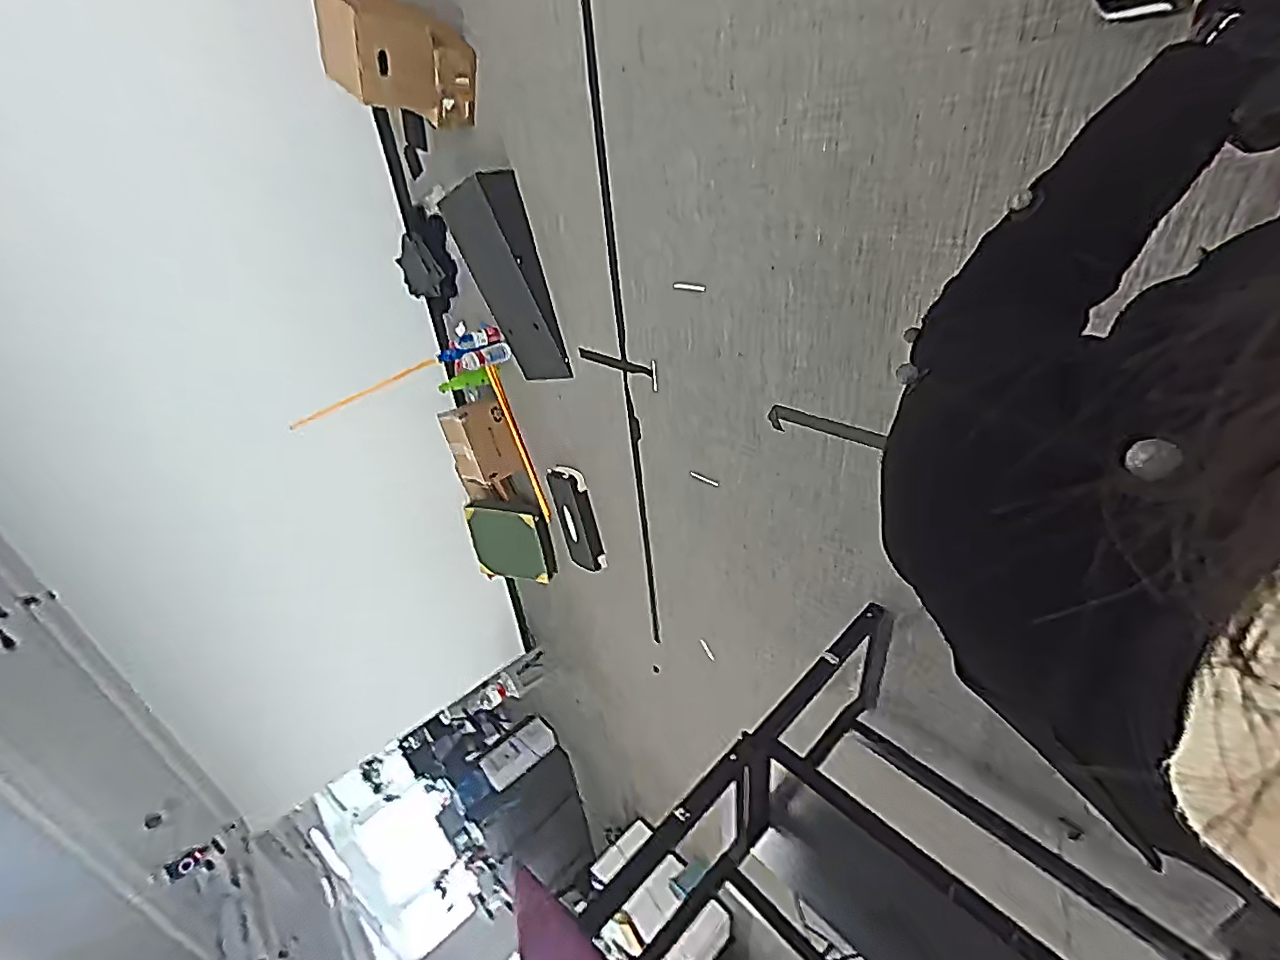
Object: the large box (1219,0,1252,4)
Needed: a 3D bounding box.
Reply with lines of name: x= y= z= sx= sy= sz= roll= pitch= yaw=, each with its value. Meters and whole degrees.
large box: x=0.842 y=-0.690 z=0.487 sx=0.408 sy=0.320 sz=0.320 roll=26 pitch=132 yaw=43
